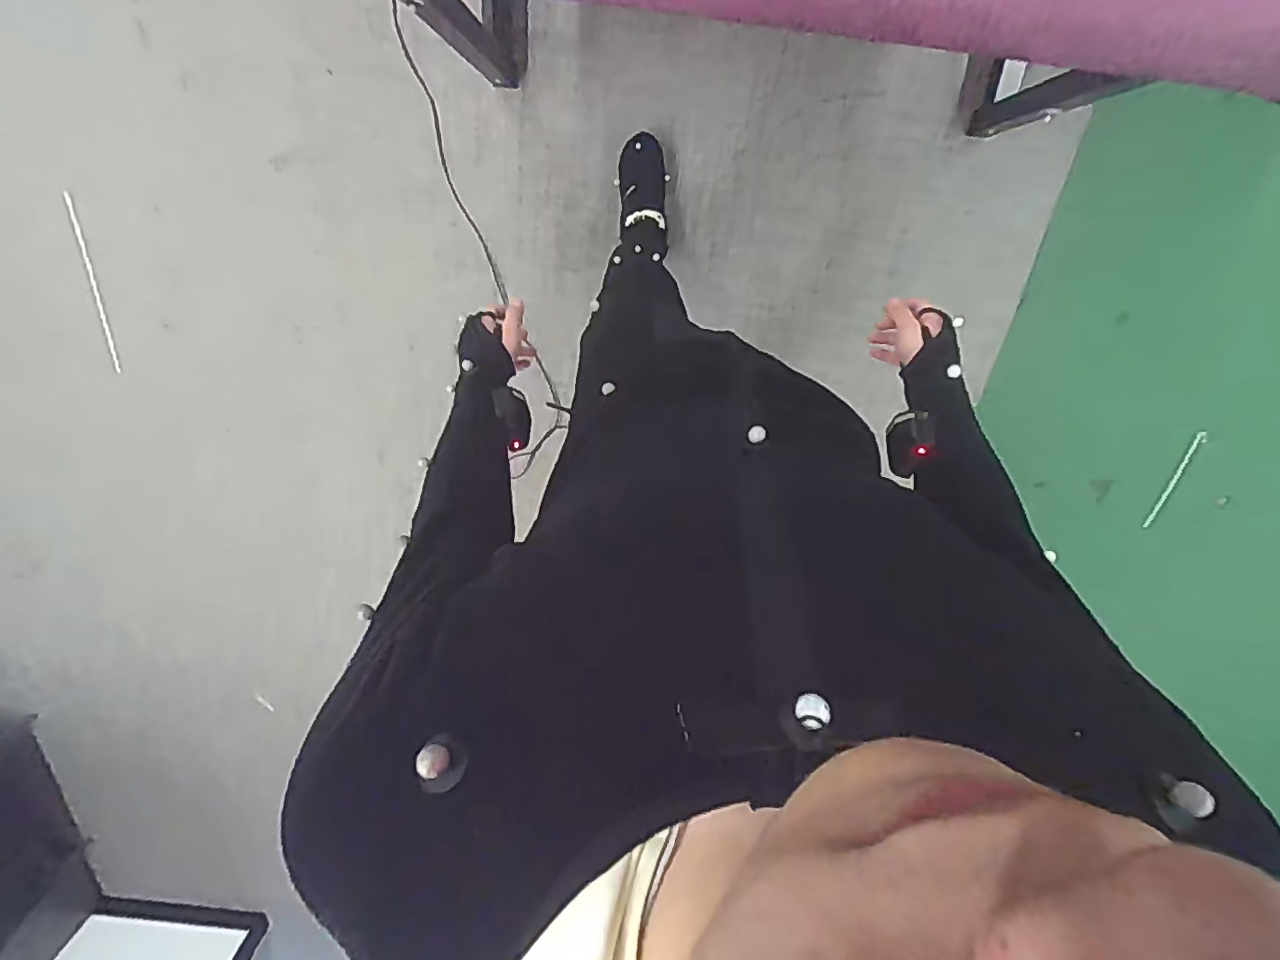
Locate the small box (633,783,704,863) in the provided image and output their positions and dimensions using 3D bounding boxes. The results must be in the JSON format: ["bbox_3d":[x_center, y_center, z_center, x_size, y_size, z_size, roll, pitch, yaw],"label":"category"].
[{"bbox_3d":[0.087,1.078,1.680,0.179,0.176,0.168,16,113,-5],"label":"small box"}]

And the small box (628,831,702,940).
[{"bbox_3d":[0.072,1.144,1.532,0.168,0.176,0.179,15,113,-3],"label":"small box"}]
